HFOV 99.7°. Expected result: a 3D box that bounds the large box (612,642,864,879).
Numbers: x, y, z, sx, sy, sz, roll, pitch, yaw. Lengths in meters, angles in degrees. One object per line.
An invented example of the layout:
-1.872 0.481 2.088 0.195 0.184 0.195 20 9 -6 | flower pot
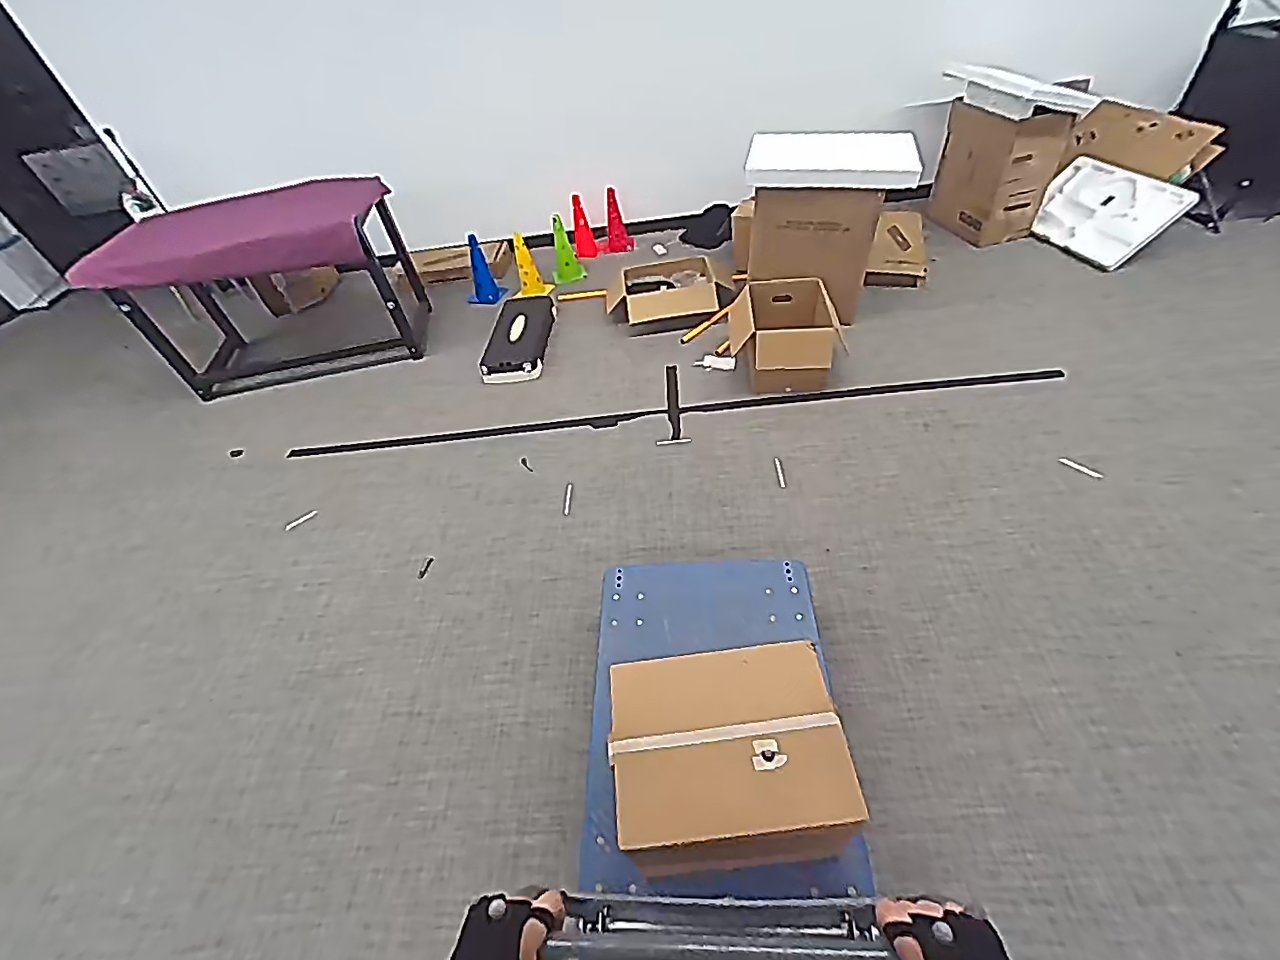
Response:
0.169 0.564 1.085 0.408 0.320 0.320 -8 47 0 | large box
